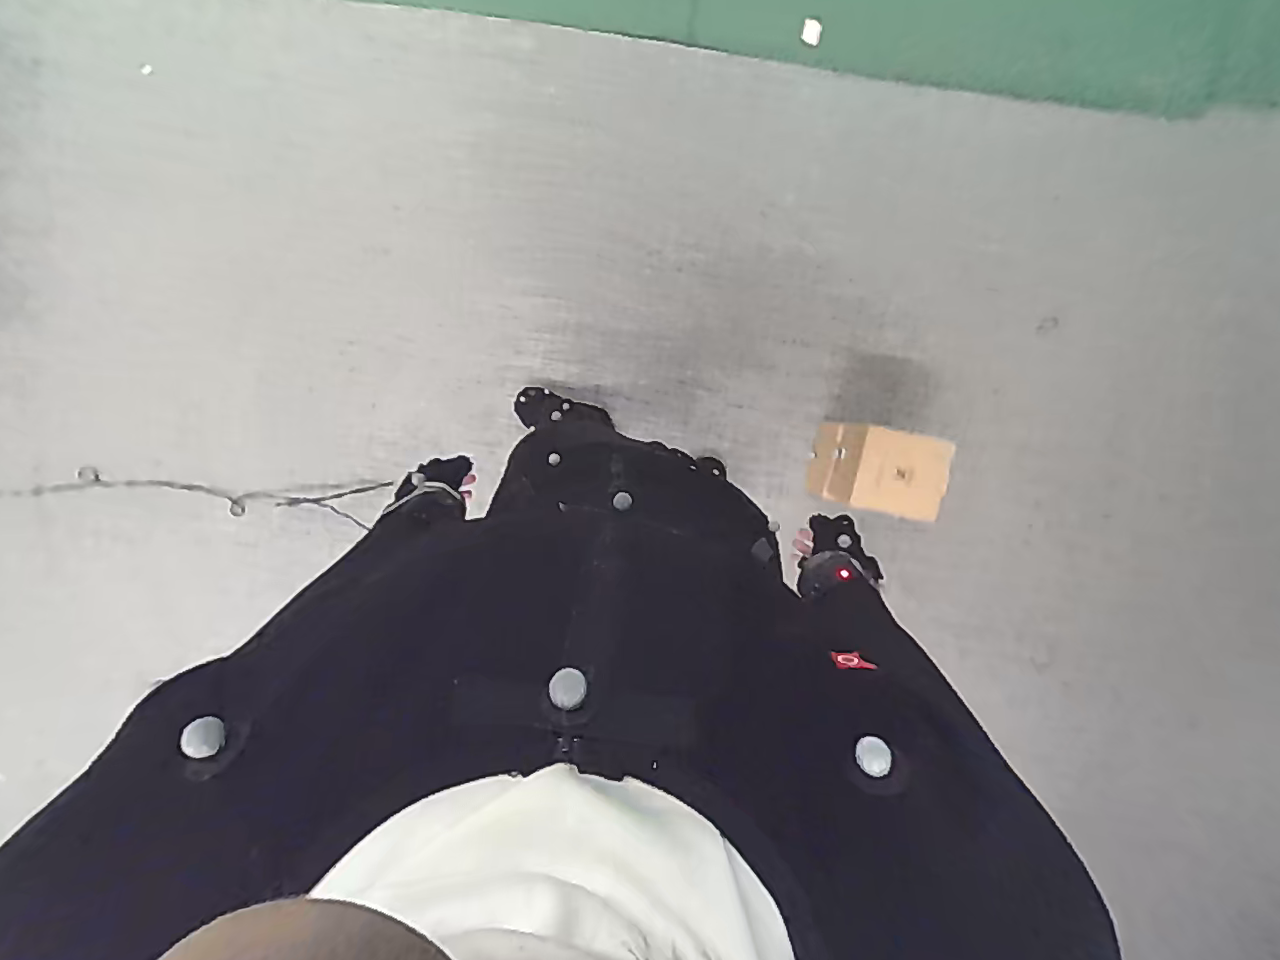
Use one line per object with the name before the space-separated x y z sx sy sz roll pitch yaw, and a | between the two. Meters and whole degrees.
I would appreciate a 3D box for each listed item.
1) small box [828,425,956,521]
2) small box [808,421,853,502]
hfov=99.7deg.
small box | 0.524 -0.022 1.148 0.179 0.176 0.168 12 96 3
small box | 0.521 -0.040 1.311 0.168 0.176 0.179 12 99 2
